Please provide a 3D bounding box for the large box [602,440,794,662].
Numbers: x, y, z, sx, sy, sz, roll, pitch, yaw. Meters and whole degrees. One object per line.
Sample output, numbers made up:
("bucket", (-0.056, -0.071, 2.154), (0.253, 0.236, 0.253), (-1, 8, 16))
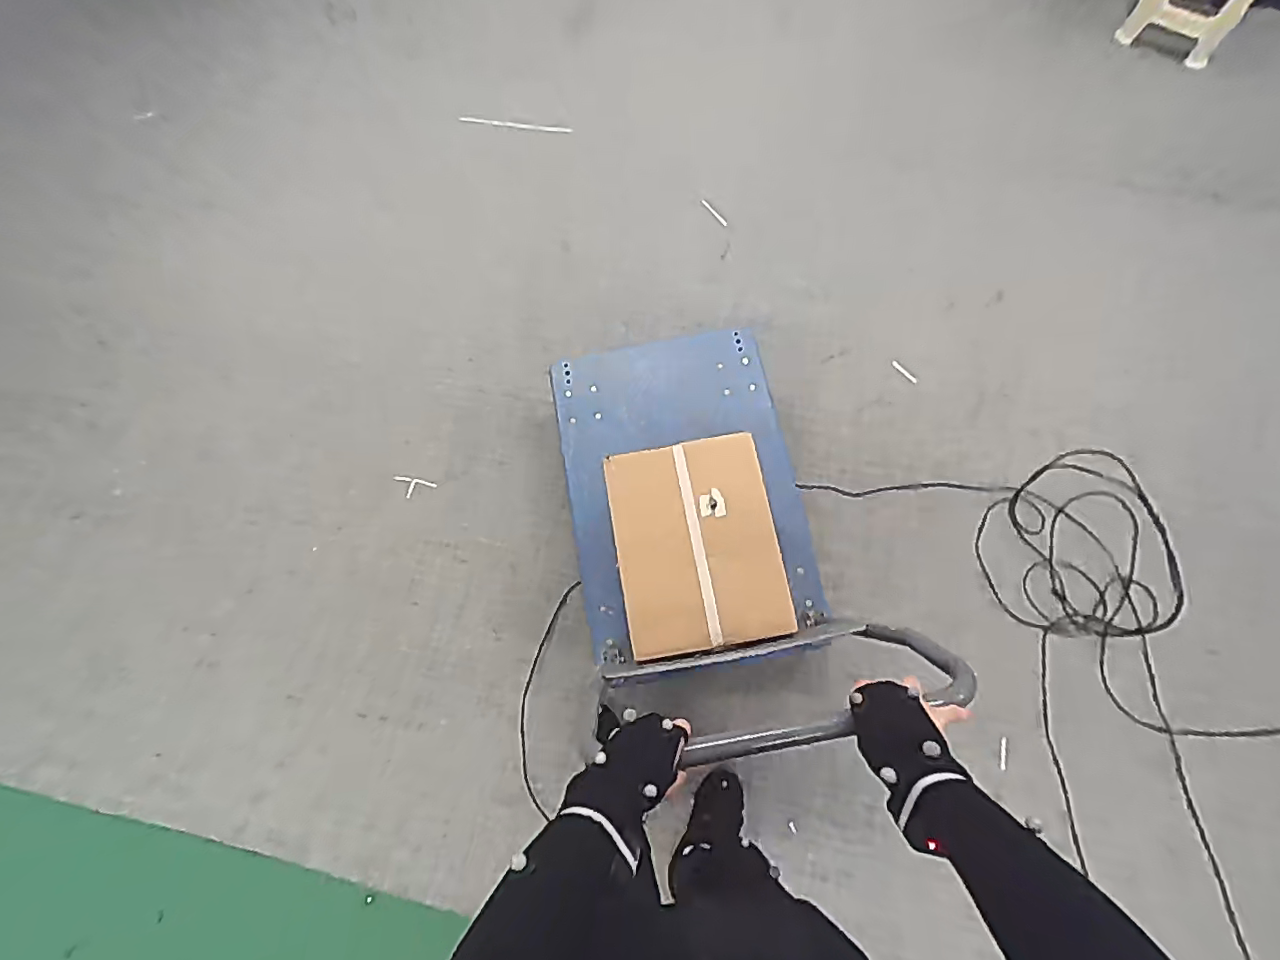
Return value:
("large box", (0.116, 0.171, 1.219), (0.320, 0.320, 0.408), (-11, 73, -1))
